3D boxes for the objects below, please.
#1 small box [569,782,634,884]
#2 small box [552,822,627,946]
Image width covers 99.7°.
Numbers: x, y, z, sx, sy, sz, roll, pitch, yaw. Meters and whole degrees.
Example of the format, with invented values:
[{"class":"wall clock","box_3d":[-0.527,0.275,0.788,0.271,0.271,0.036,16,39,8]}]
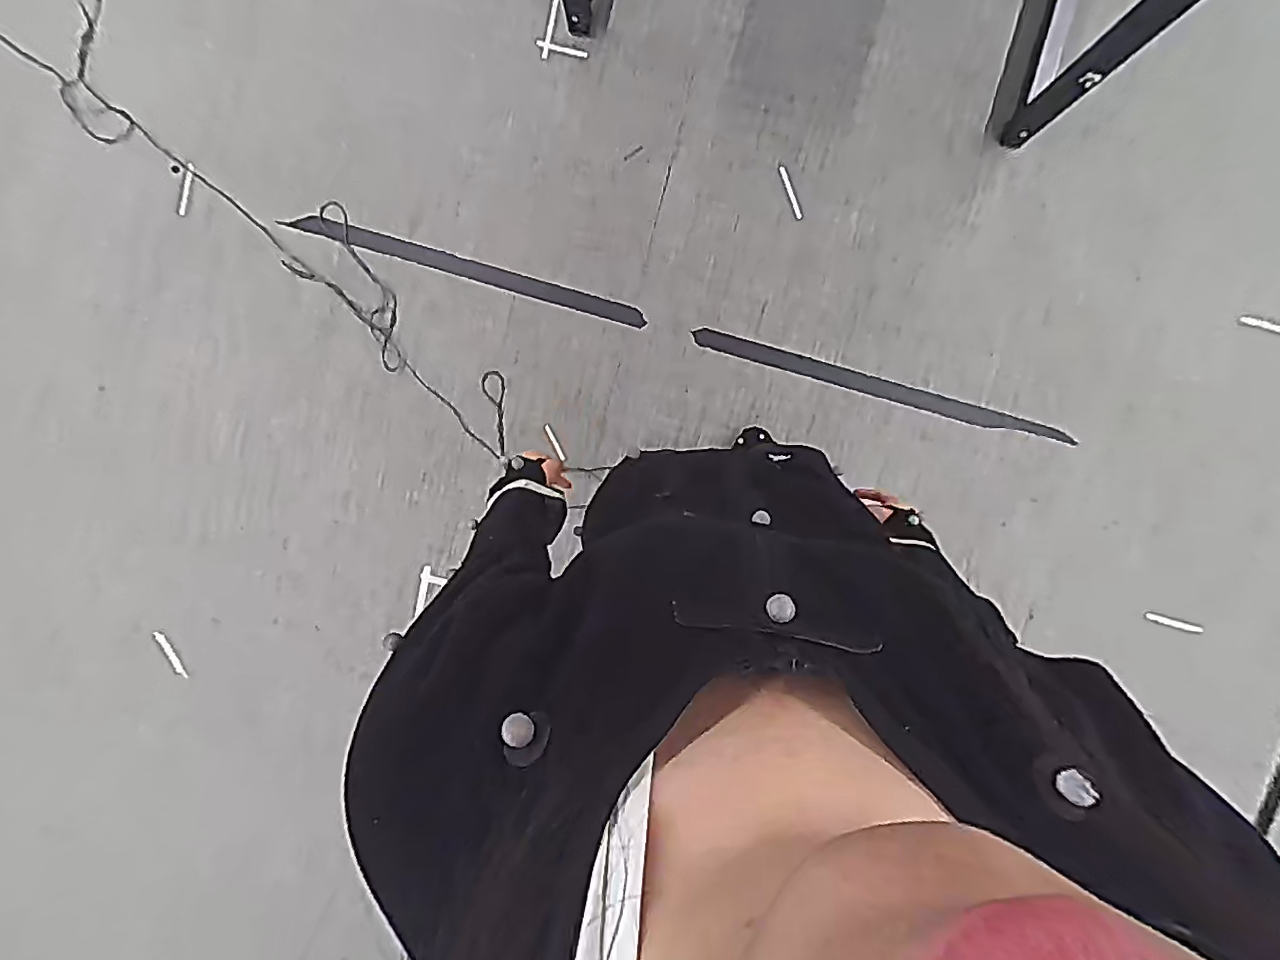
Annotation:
[{"class":"small box","box_3d":[-0.105,0.962,1.487,0.168,0.176,0.179,2,95,2]},{"class":"small box","box_3d":[-0.118,0.982,1.324,0.168,0.176,0.179,2,95,0]}]
